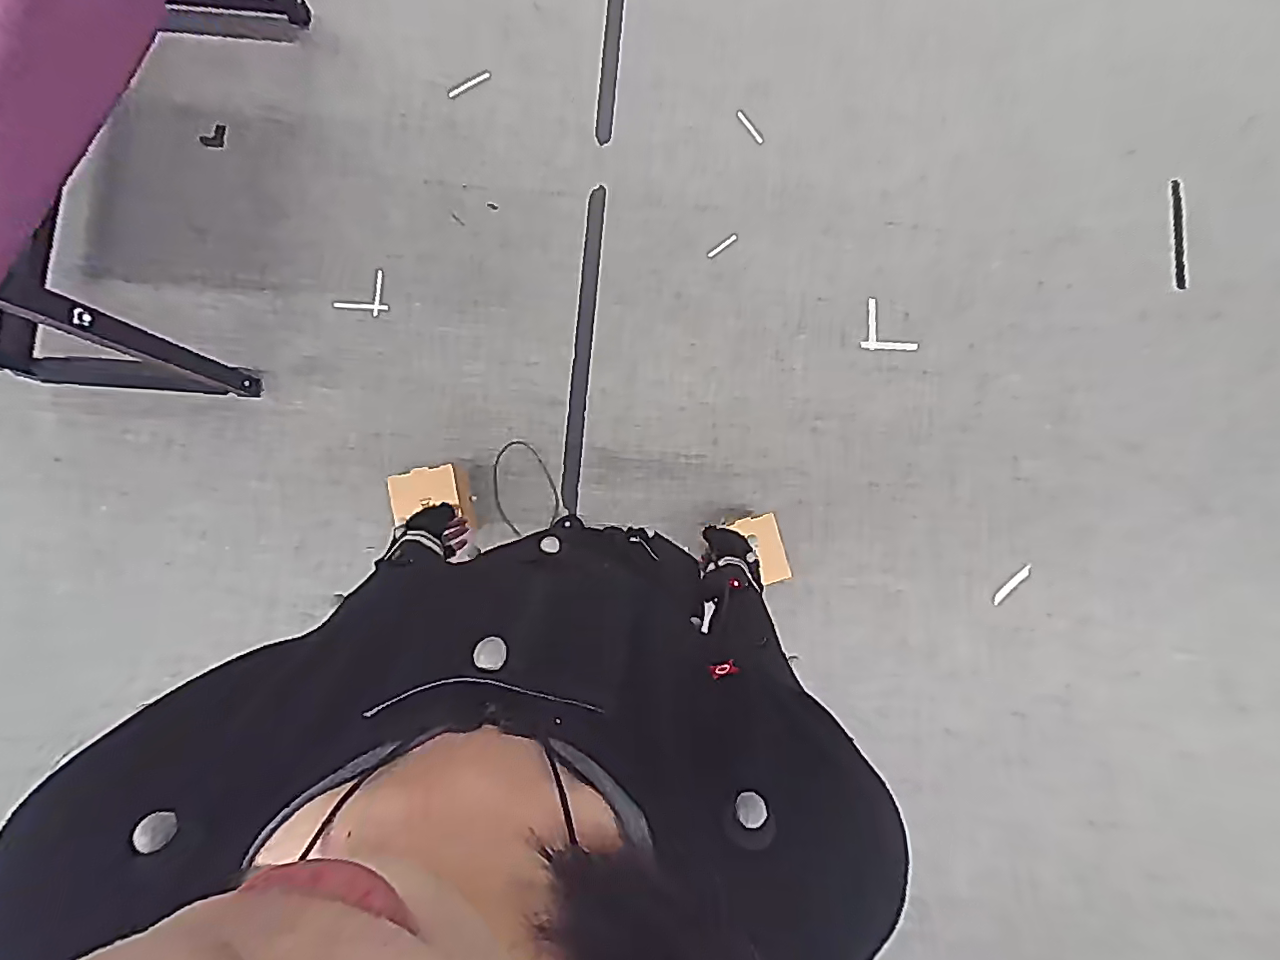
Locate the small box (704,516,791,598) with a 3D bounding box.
[{"bbox_3d":[0.281,0.203,1.459,0.168,0.176,0.179,-16,87,-4],"label":"small box"}]

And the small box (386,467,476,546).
[{"bbox_3d":[-0.543,0.074,1.420,0.168,0.176,0.179,-12,85,-5],"label":"small box"}]
